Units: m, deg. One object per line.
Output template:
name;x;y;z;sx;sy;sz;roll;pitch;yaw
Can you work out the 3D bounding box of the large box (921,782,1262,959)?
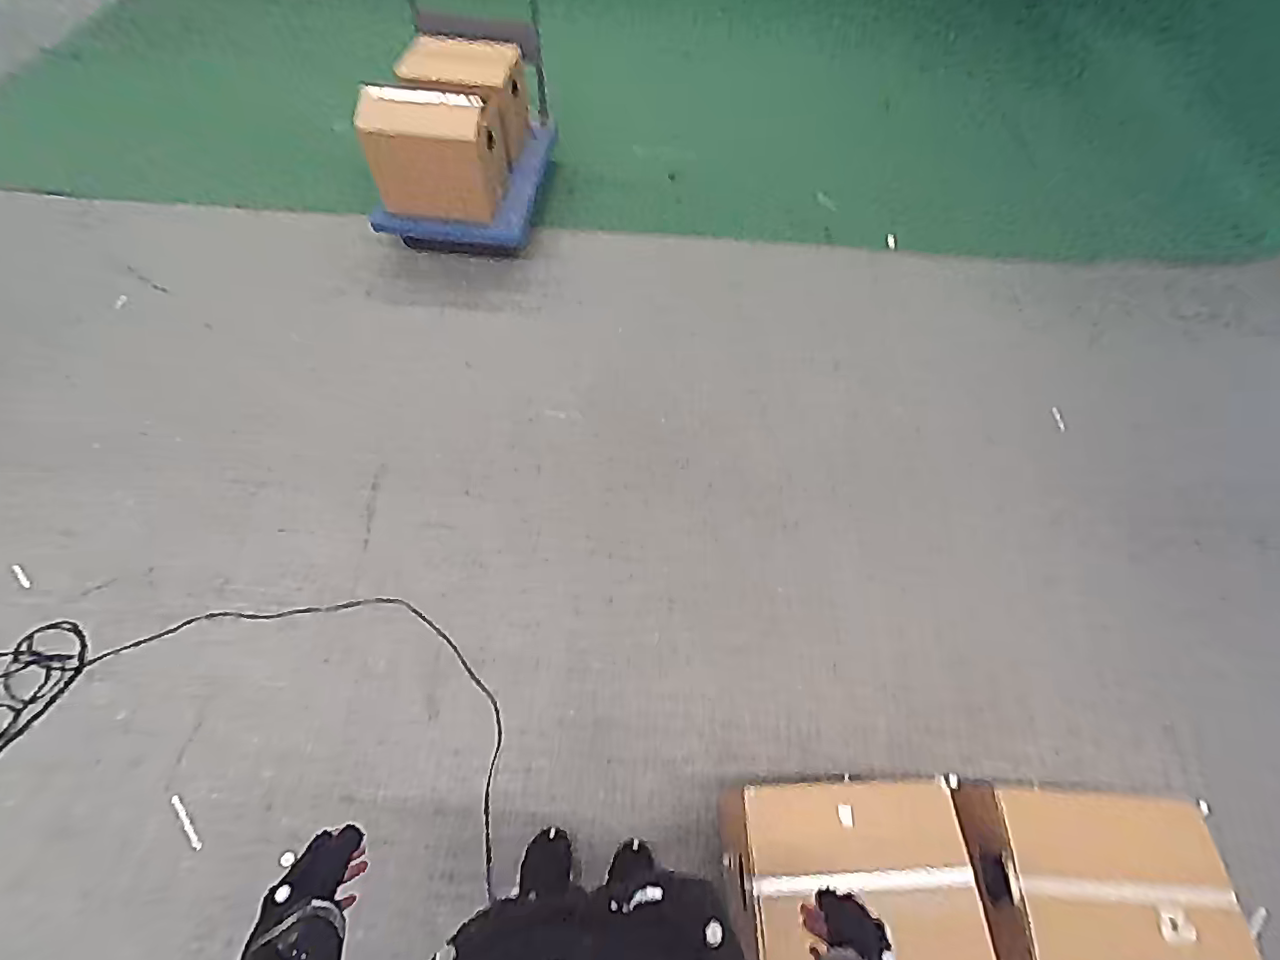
large box;0.869;0.810;1.103;0.408;0.320;0.320;5;60;-1
